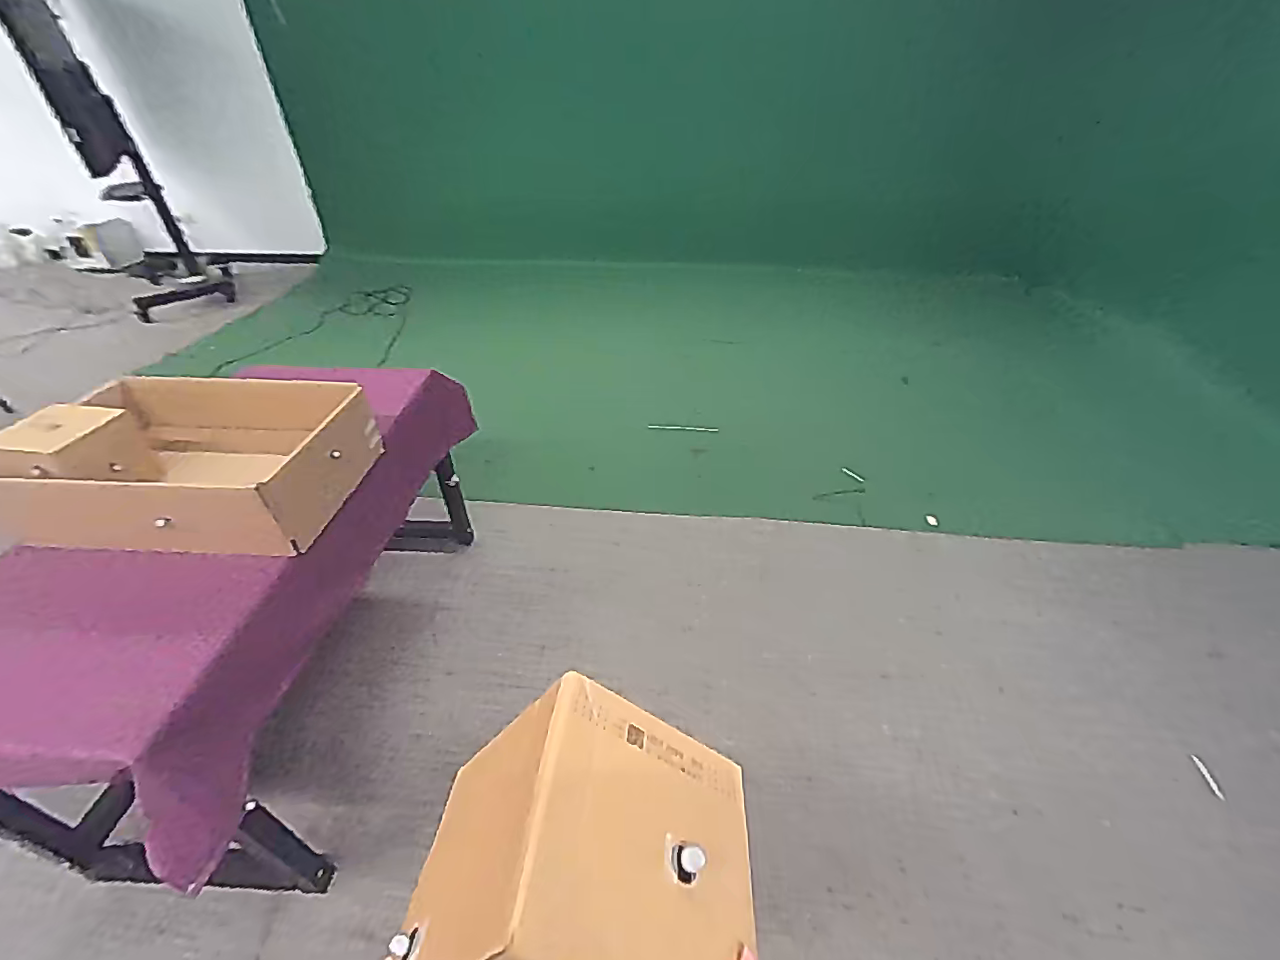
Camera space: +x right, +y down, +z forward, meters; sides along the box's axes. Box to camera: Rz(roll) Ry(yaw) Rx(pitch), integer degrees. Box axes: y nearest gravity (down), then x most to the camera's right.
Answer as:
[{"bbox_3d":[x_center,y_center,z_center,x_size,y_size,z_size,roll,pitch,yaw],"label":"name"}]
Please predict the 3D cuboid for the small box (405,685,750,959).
[{"bbox_3d":[-0.044,0.283,0.387,0.168,0.179,0.176,34,27,-14],"label":"small box"}]
